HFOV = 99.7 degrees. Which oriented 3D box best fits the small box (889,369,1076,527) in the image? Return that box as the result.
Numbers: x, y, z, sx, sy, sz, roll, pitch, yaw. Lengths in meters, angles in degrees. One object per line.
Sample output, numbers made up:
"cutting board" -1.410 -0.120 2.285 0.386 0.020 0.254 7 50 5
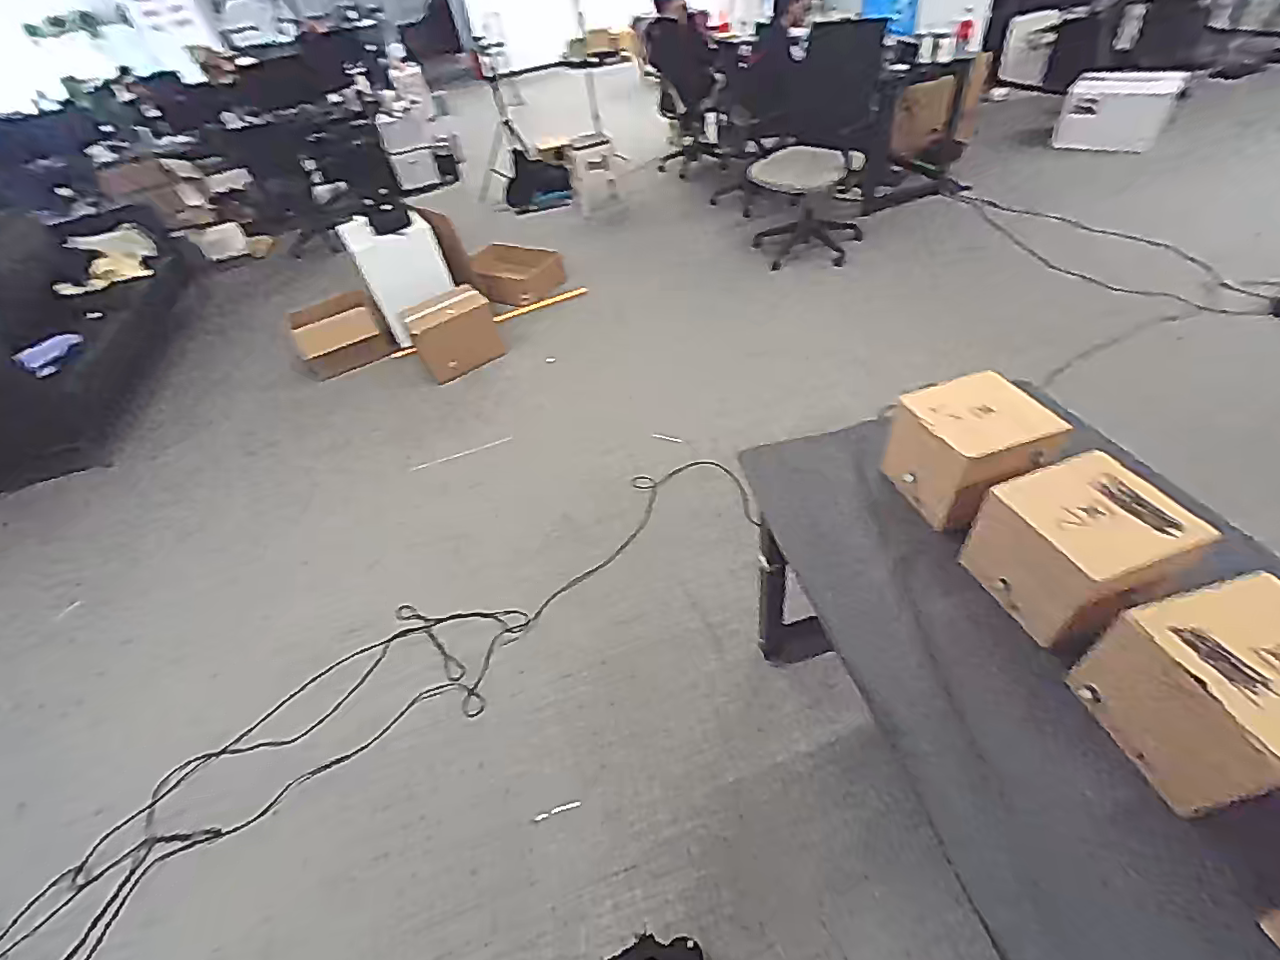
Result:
"small box" 0.542 -0.050 0.887 0.179 0.176 0.168 -17 45 -5
